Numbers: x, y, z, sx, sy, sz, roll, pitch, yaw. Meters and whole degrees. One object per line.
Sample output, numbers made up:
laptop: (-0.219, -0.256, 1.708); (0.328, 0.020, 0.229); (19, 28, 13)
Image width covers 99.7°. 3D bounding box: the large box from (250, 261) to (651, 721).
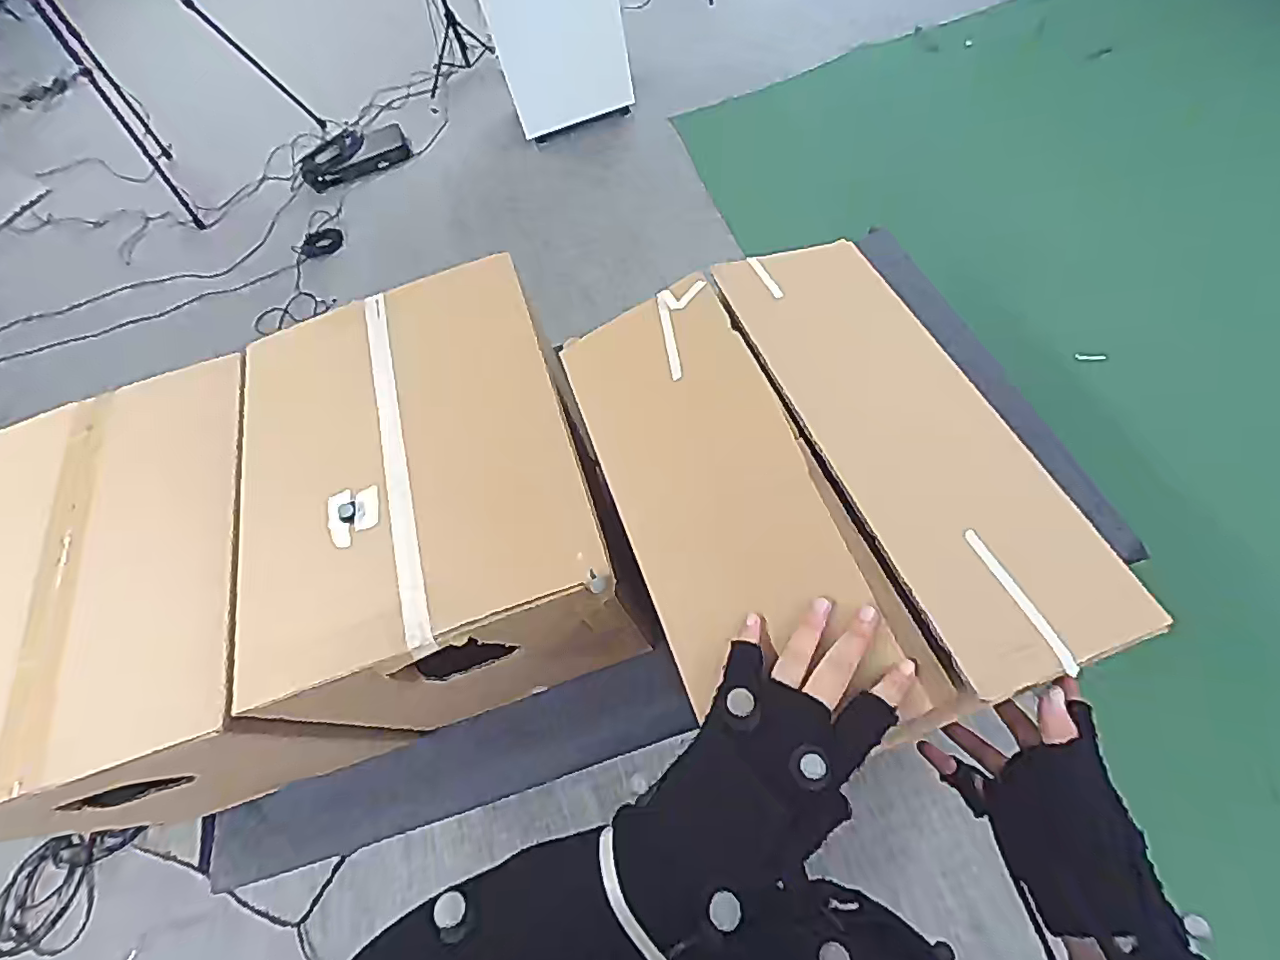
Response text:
large box: (-0.205, 0.028, 0.649); (0.320, 0.320, 0.408); (-20, 62, 0)
